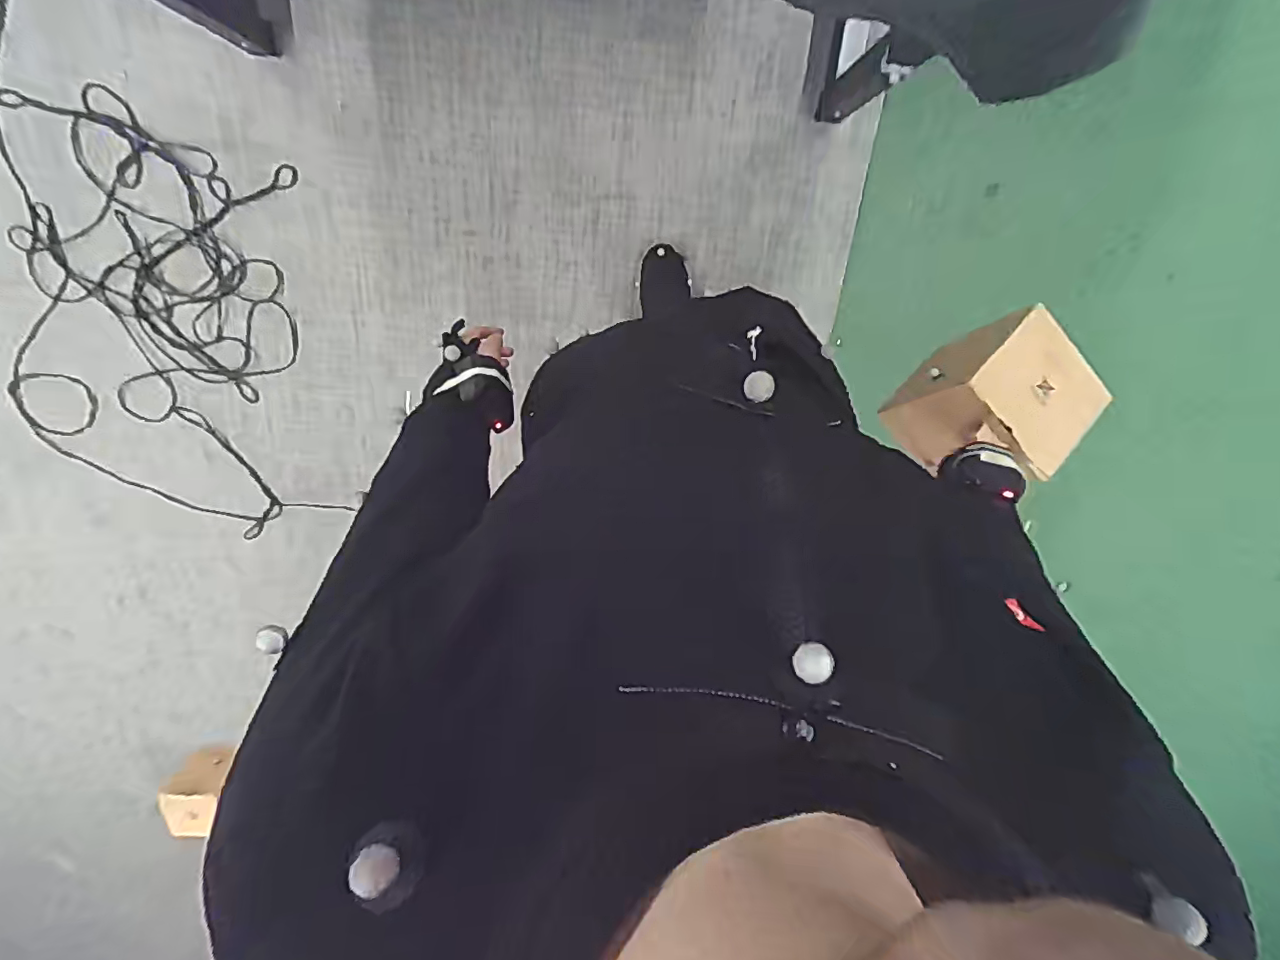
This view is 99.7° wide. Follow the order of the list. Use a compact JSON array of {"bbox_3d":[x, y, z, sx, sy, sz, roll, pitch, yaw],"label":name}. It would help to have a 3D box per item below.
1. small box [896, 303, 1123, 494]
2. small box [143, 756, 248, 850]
[{"bbox_3d":[0.490,-0.099,0.744,0.179,0.176,0.168,-43,95,-18],"label":"small box"},{"bbox_3d":[-1.317,0.965,1.618,0.168,0.176,0.179,3,110,-2],"label":"small box"}]
